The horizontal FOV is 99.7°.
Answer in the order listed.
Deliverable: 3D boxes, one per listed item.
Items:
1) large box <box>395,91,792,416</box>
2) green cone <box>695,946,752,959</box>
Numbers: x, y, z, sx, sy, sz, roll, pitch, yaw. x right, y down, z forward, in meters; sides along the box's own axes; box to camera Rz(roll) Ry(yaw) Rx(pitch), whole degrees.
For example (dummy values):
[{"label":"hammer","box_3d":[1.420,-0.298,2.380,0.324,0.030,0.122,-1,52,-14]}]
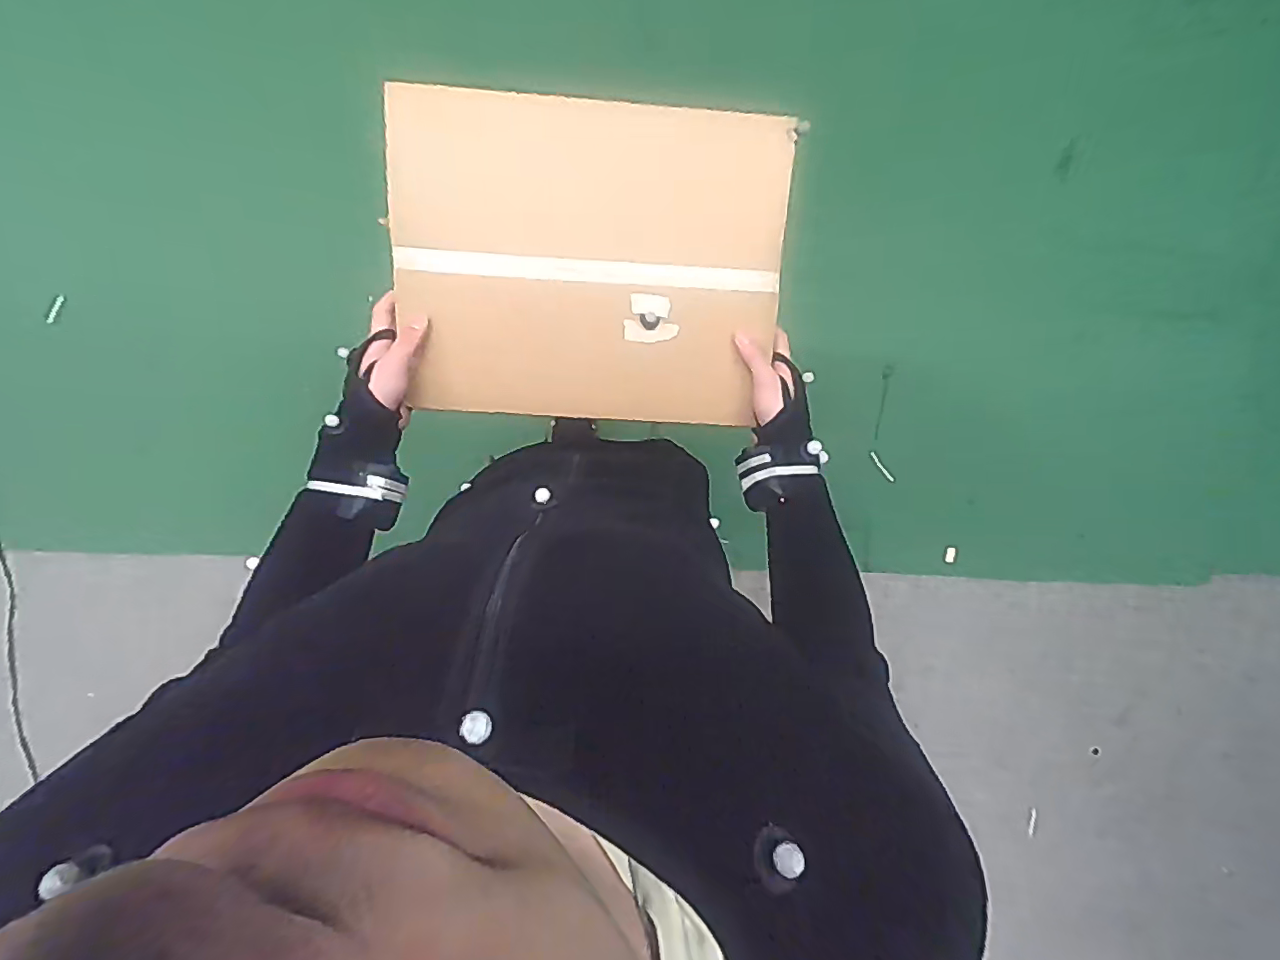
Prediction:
[{"label":"large box","box_3d":[-0.058,-0.265,0.720,0.408,0.320,0.320,2,106,-4]},{"label":"green cone","box_3d":[0.297,1.752,1.727,0.200,0.368,0.202,8,96,-5]}]
